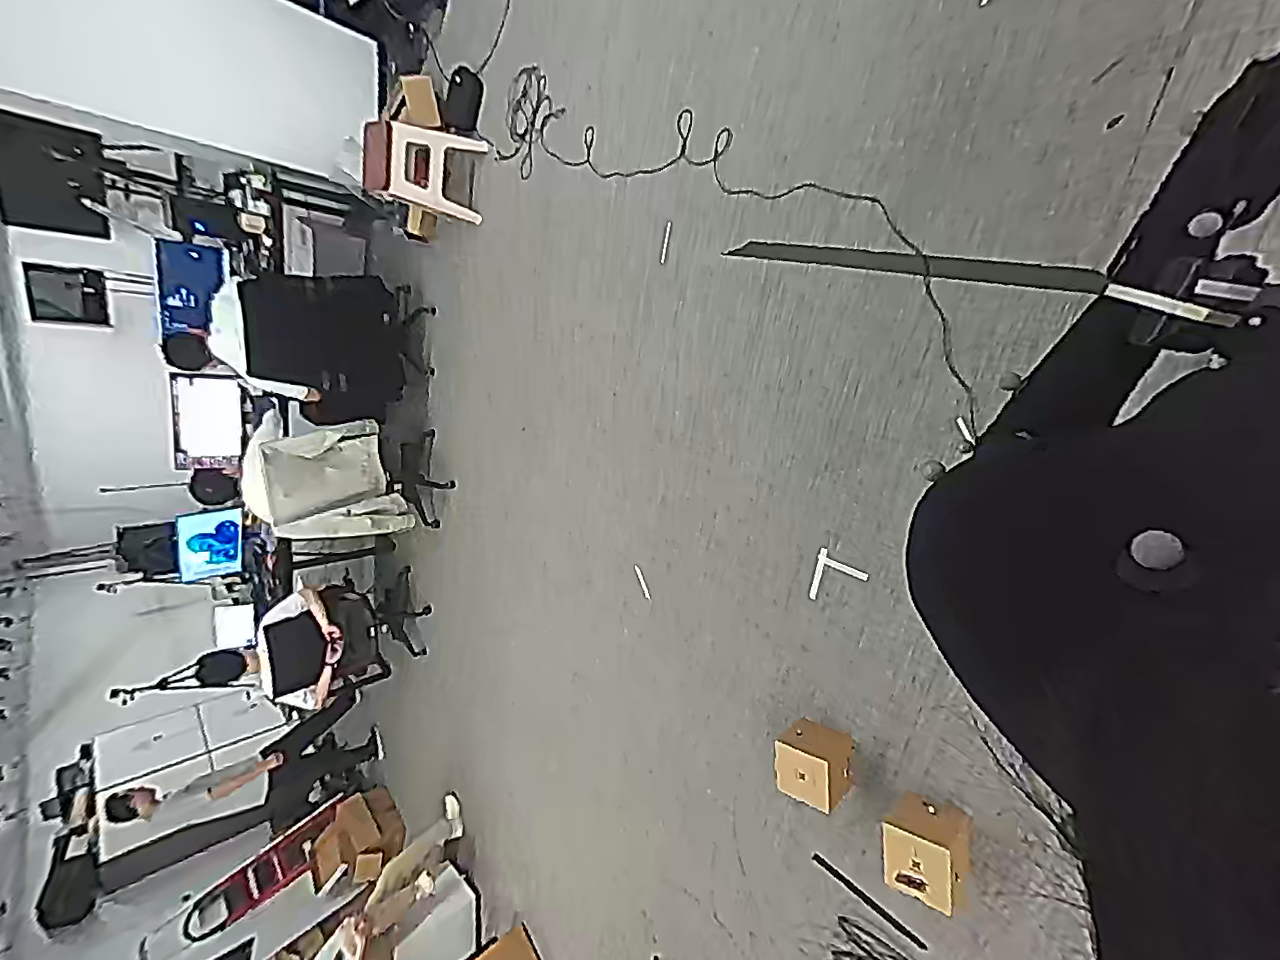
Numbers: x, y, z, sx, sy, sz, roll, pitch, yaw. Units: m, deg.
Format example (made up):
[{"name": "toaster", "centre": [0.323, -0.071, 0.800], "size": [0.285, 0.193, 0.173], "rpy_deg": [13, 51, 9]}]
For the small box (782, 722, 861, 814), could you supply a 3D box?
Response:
[{"name": "small box", "centre": [0.555, 0.869, 1.656], "size": [0.179, 0.176, 0.168], "rpy_deg": [1, 97, 45]}]

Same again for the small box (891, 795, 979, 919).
[{"name": "small box", "centre": [0.785, 0.988, 1.435], "size": [0.168, 0.176, 0.179], "rpy_deg": [0, 95, 45]}]
